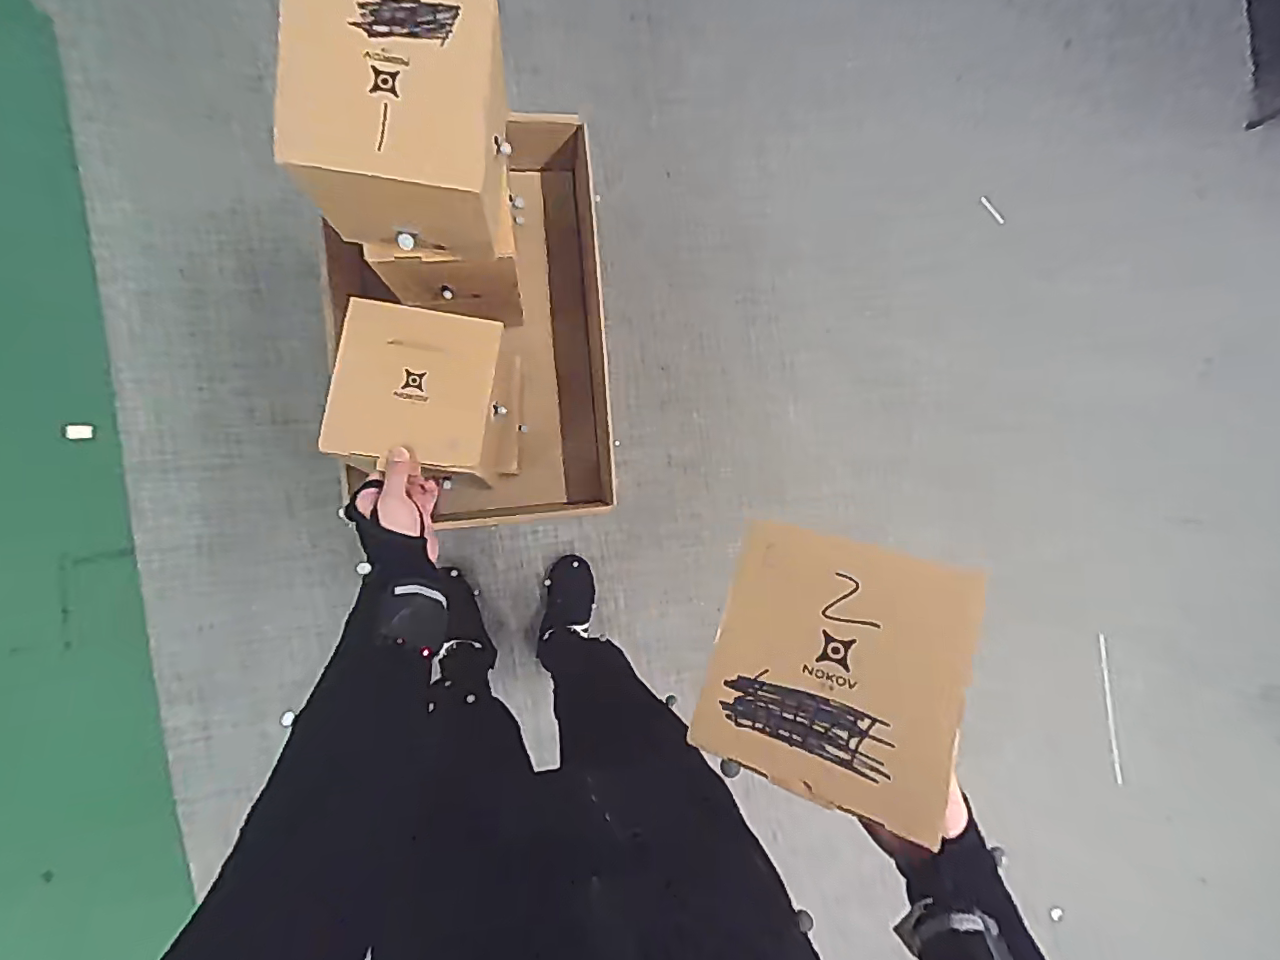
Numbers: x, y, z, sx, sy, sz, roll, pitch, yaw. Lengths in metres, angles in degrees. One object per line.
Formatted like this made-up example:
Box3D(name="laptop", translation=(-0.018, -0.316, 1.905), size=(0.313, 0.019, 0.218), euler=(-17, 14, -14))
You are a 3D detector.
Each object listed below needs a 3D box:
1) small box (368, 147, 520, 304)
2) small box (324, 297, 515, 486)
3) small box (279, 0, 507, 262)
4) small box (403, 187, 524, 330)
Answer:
Box3D(name="small box", translation=(-0.248, -0.341, 0.698), size=(0.168, 0.176, 0.179), euler=(-6, 93, -10))
Box3D(name="small box", translation=(-0.254, -0.094, 0.670), size=(0.168, 0.176, 0.179), euler=(8, 79, -7))
Box3D(name="small box", translation=(-0.224, -0.343, 0.535), size=(0.168, 0.176, 0.179), euler=(4, 91, -10))
Box3D(name="small box", translation=(-0.276, -0.347, 0.857), size=(0.168, 0.176, 0.179), euler=(-5, 92, -9))
